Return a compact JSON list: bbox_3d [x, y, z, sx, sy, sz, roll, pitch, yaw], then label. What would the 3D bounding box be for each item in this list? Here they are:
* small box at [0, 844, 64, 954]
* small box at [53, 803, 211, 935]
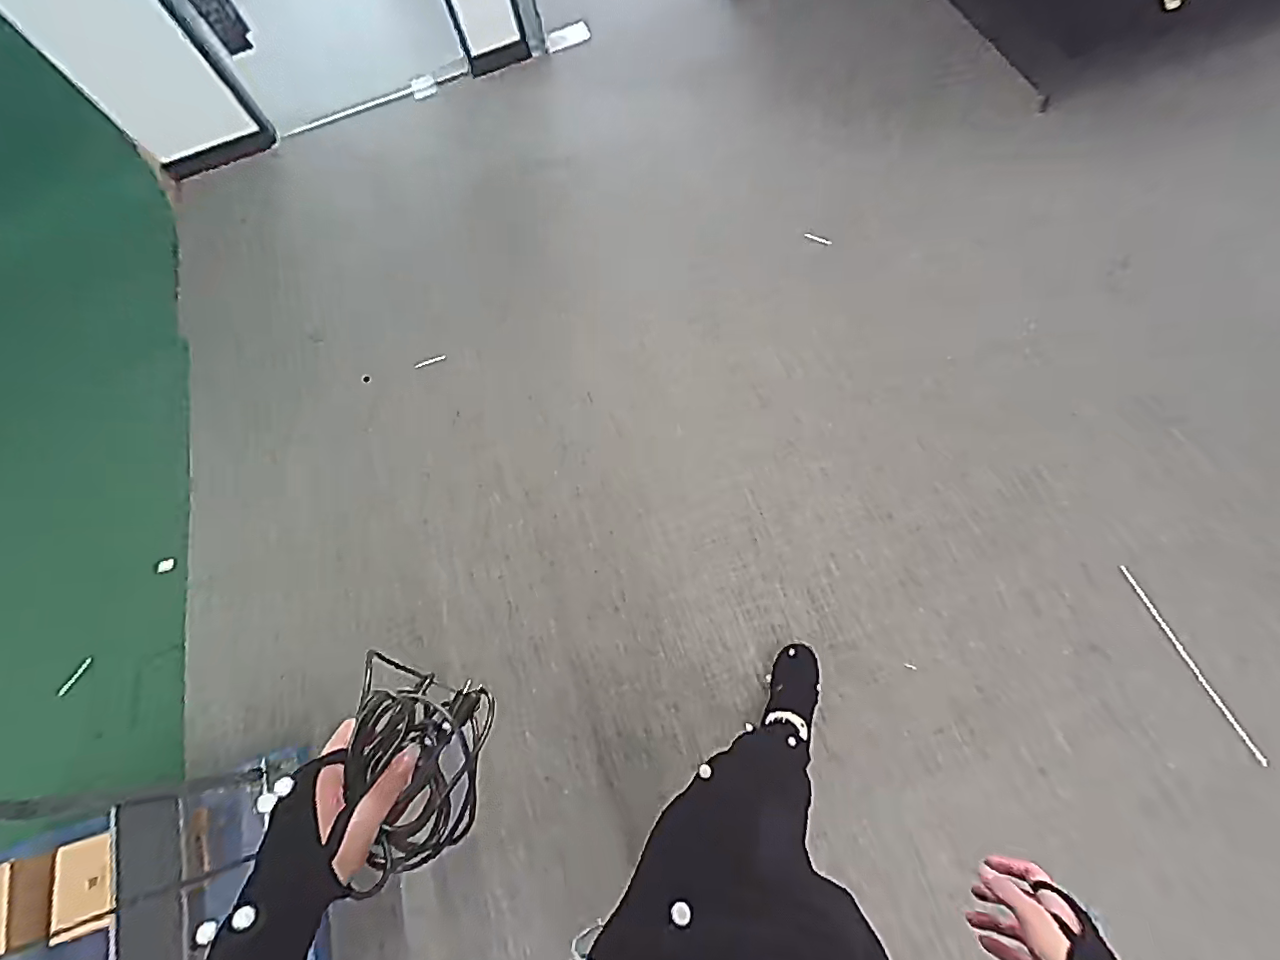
[{"bbox_3d":[-1.320,0.897,1.147,0.179,0.176,0.168,-21,68,-3],"label":"small box"},{"bbox_3d":[-1.068,0.816,1.152,0.179,0.176,0.168,-19,67,-2],"label":"small box"}]
